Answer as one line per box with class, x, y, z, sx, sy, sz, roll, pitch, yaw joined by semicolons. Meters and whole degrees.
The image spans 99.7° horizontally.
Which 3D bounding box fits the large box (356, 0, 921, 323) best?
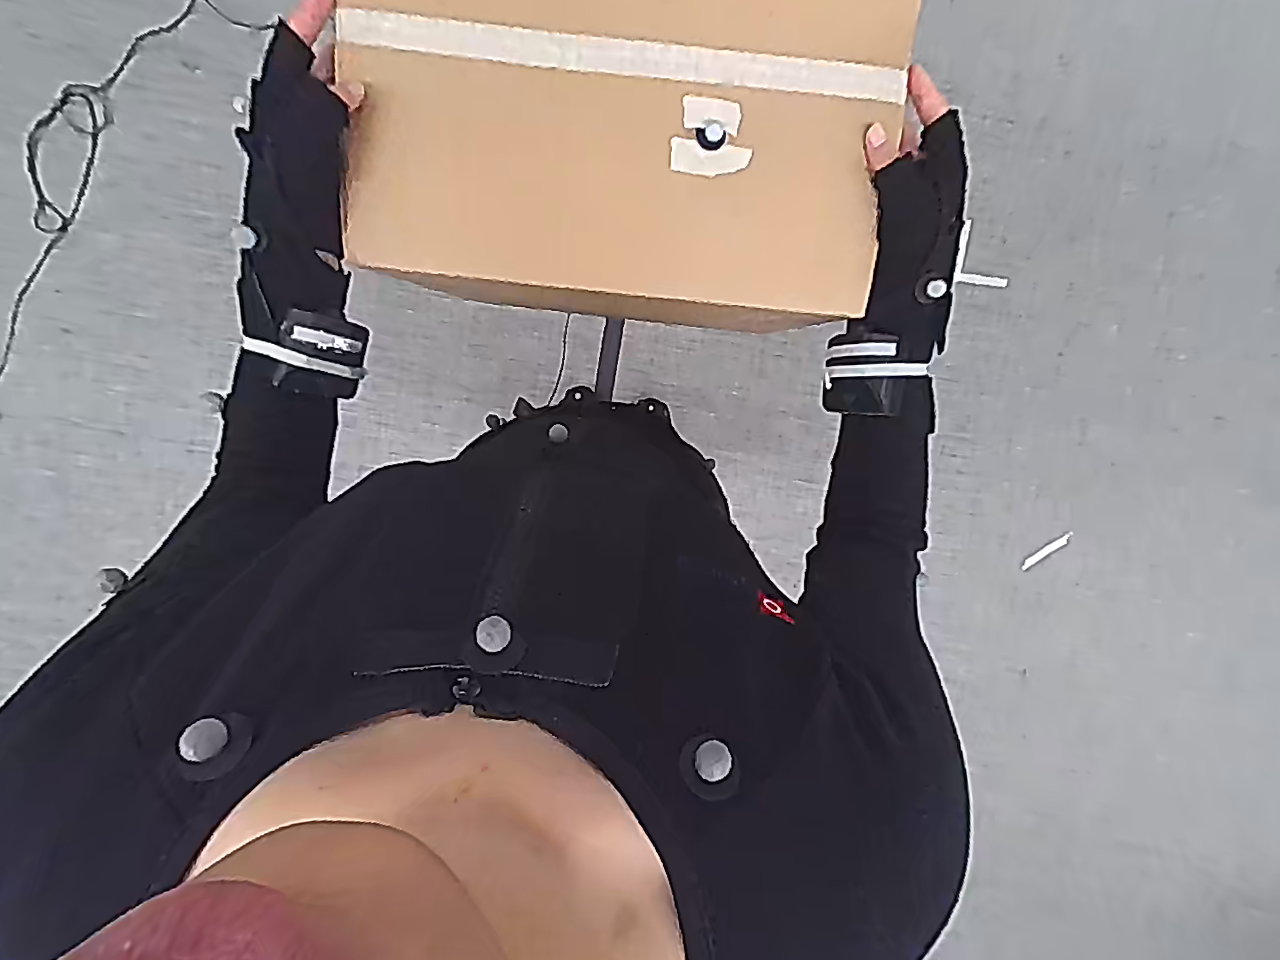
large box;-0.007;-0.338;0.534;0.408;0.320;0.320;5;104;-2
